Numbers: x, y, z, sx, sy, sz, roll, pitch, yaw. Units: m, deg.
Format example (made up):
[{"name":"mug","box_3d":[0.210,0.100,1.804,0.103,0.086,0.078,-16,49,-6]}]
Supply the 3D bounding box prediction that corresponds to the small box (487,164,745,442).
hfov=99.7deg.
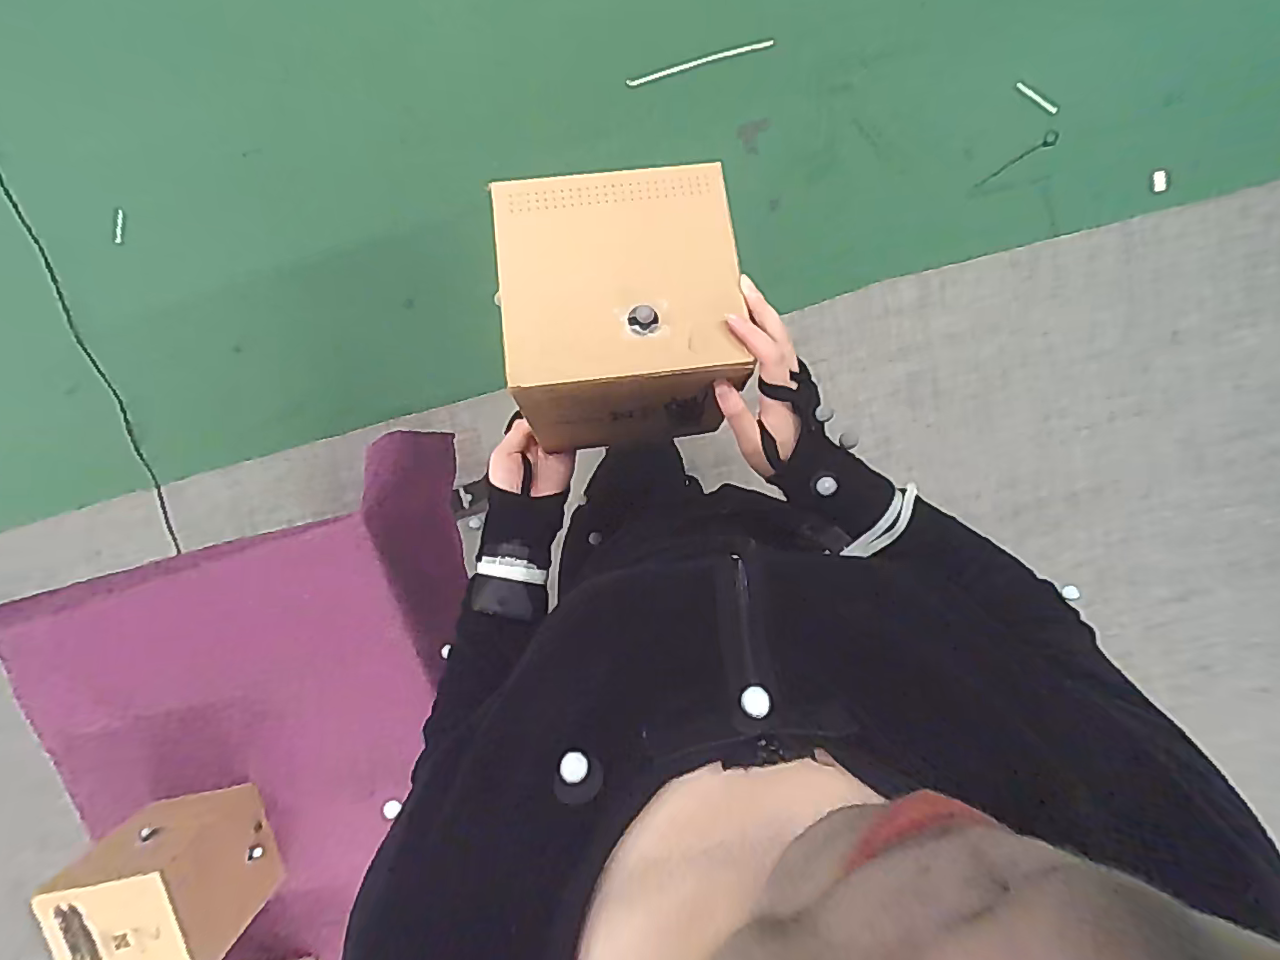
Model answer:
[{"name":"small box","box_3d":[-0.024,-0.142,0.468,0.179,0.168,0.176,-6,78,-3]}]
